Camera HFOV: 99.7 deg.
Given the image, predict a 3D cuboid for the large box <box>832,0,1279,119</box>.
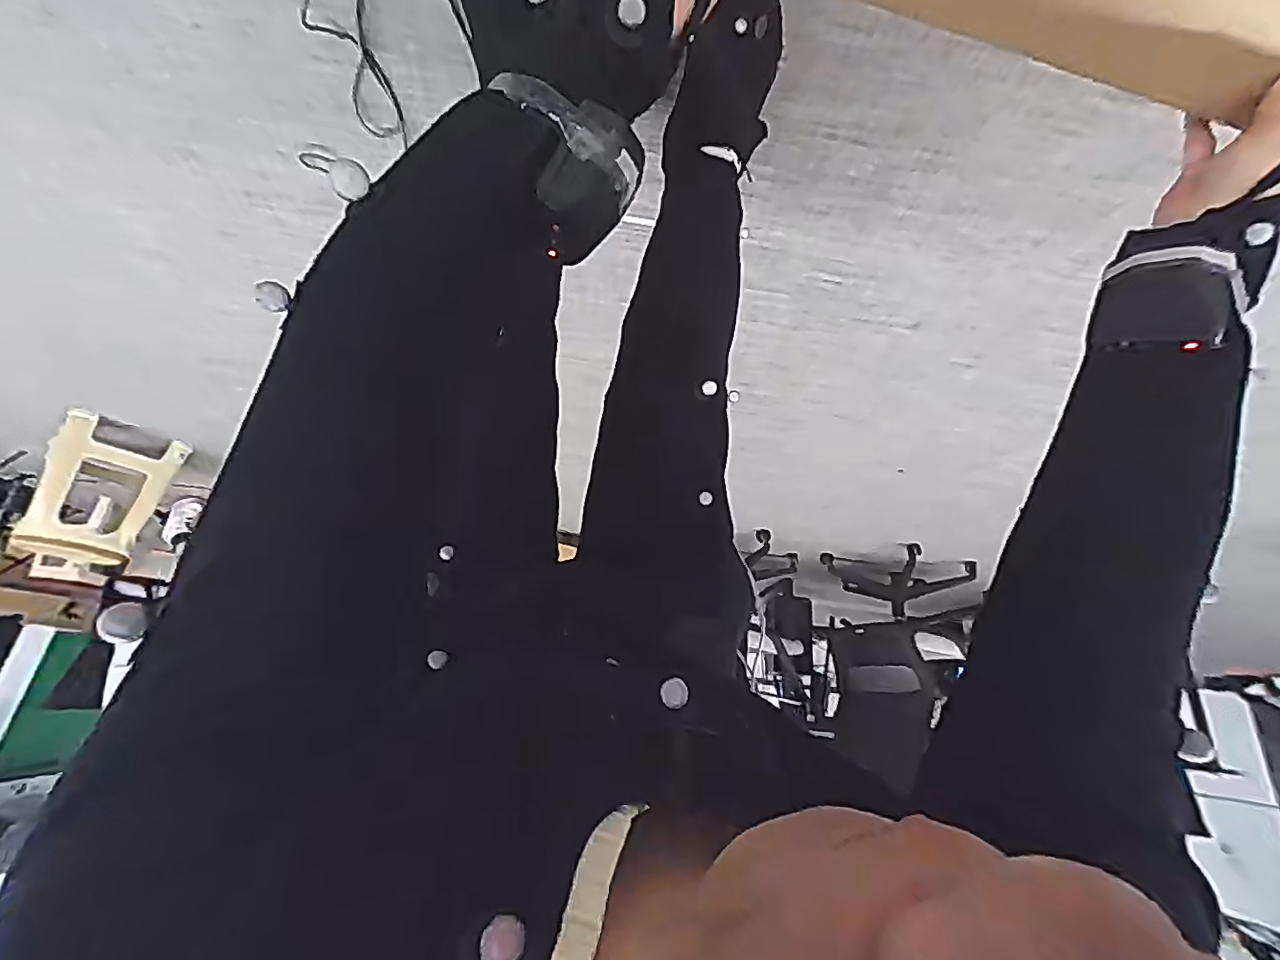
[{"bbox_3d":[0.265,-0.475,0.281,0.408,0.320,0.320,9,153,-10],"label":"large box"}]
